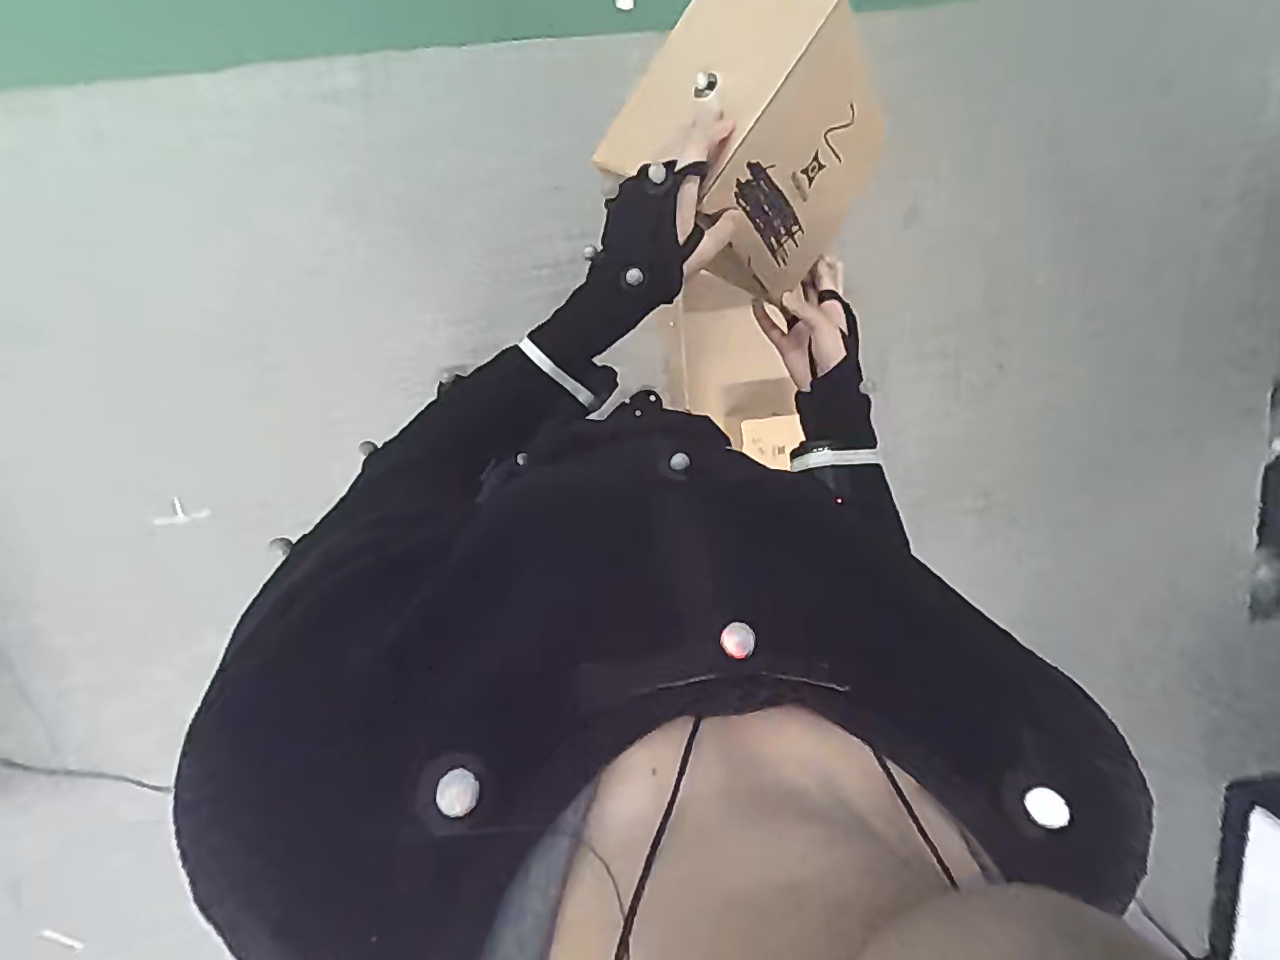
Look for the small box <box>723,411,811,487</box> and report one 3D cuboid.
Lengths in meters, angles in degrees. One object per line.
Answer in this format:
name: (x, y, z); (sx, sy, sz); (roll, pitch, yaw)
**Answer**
small box: (0.320, -0.084, 1.380); (0.179, 0.176, 0.168); (-6, 101, -4)
